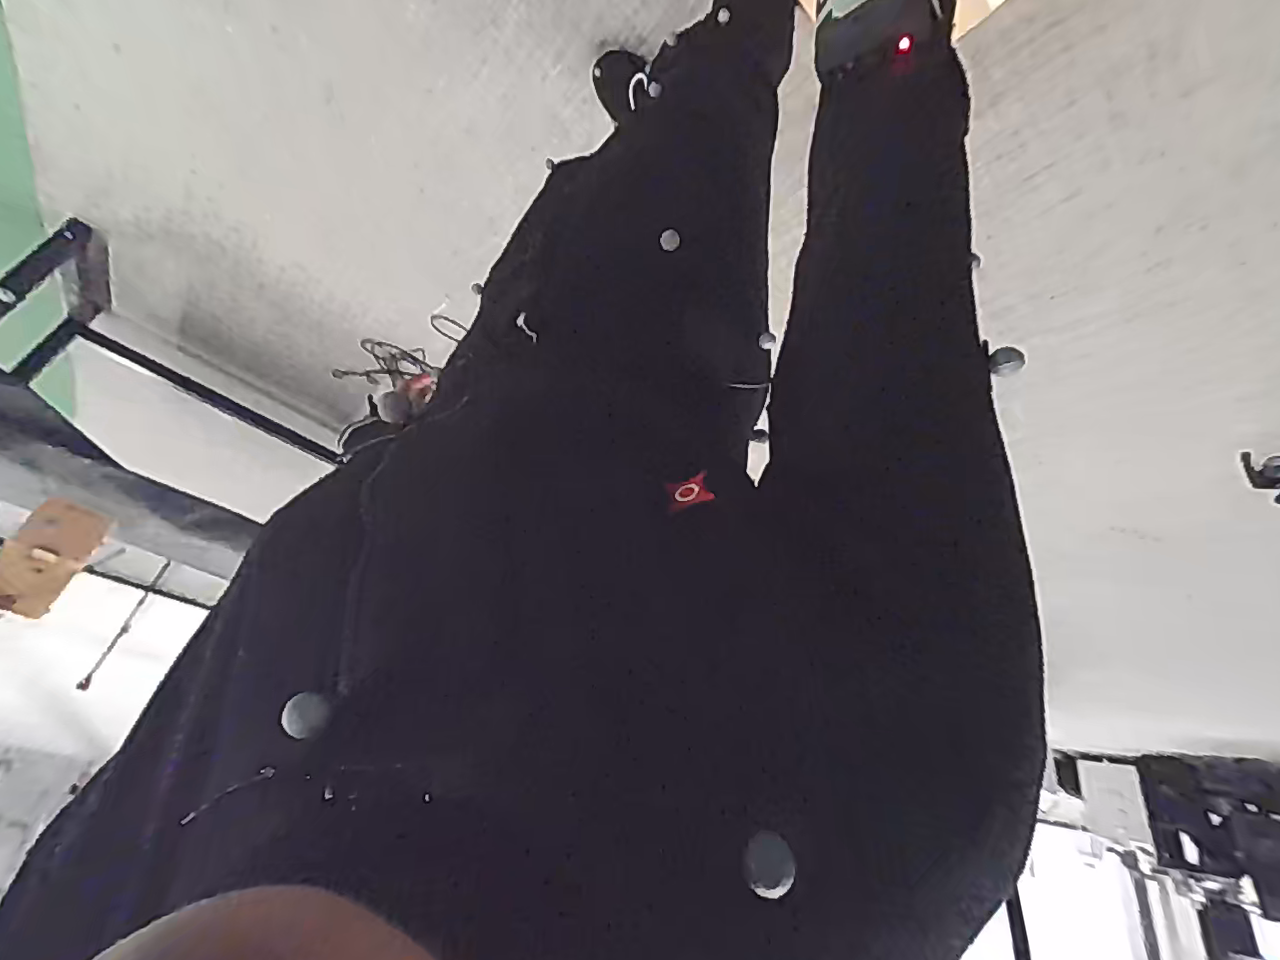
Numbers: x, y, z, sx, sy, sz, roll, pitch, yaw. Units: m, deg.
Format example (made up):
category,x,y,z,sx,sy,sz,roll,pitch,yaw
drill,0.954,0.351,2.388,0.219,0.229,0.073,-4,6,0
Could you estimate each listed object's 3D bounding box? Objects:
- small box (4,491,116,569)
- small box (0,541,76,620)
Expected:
category,x,y,z,sx,sy,sz,roll,pitch,yaw
small box,-1.712,0.148,1.606,0.179,0.176,0.168,-15,138,44
small box,-1.762,0.287,1.535,0.179,0.176,0.168,-17,137,42
